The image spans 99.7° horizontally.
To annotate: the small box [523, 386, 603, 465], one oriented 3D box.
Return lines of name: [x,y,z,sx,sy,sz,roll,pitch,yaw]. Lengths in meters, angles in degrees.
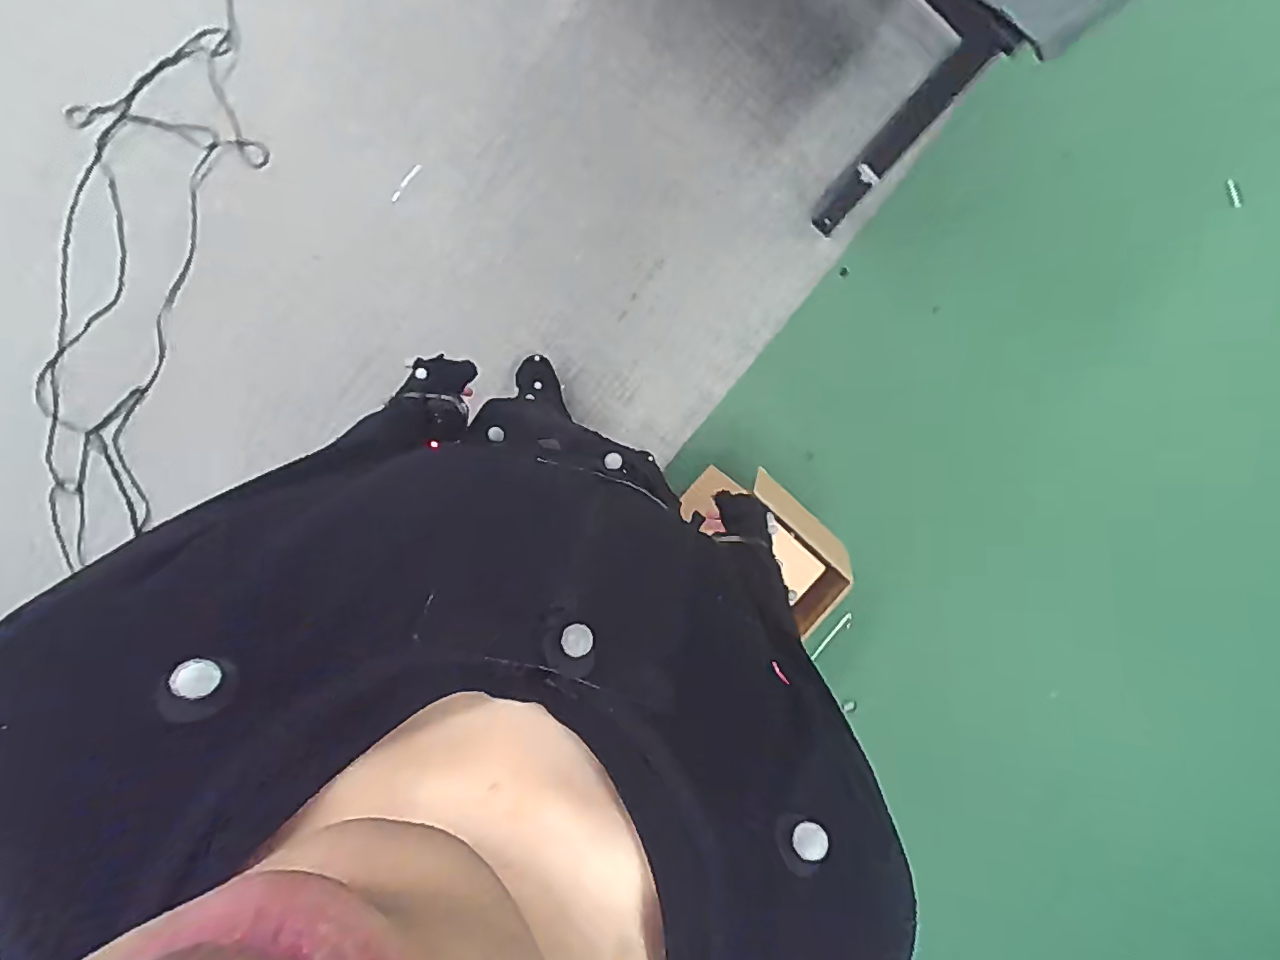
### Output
small box: [-0.206,-0.144,1.401,0.168,0.176,0.179,1,102,-23]
